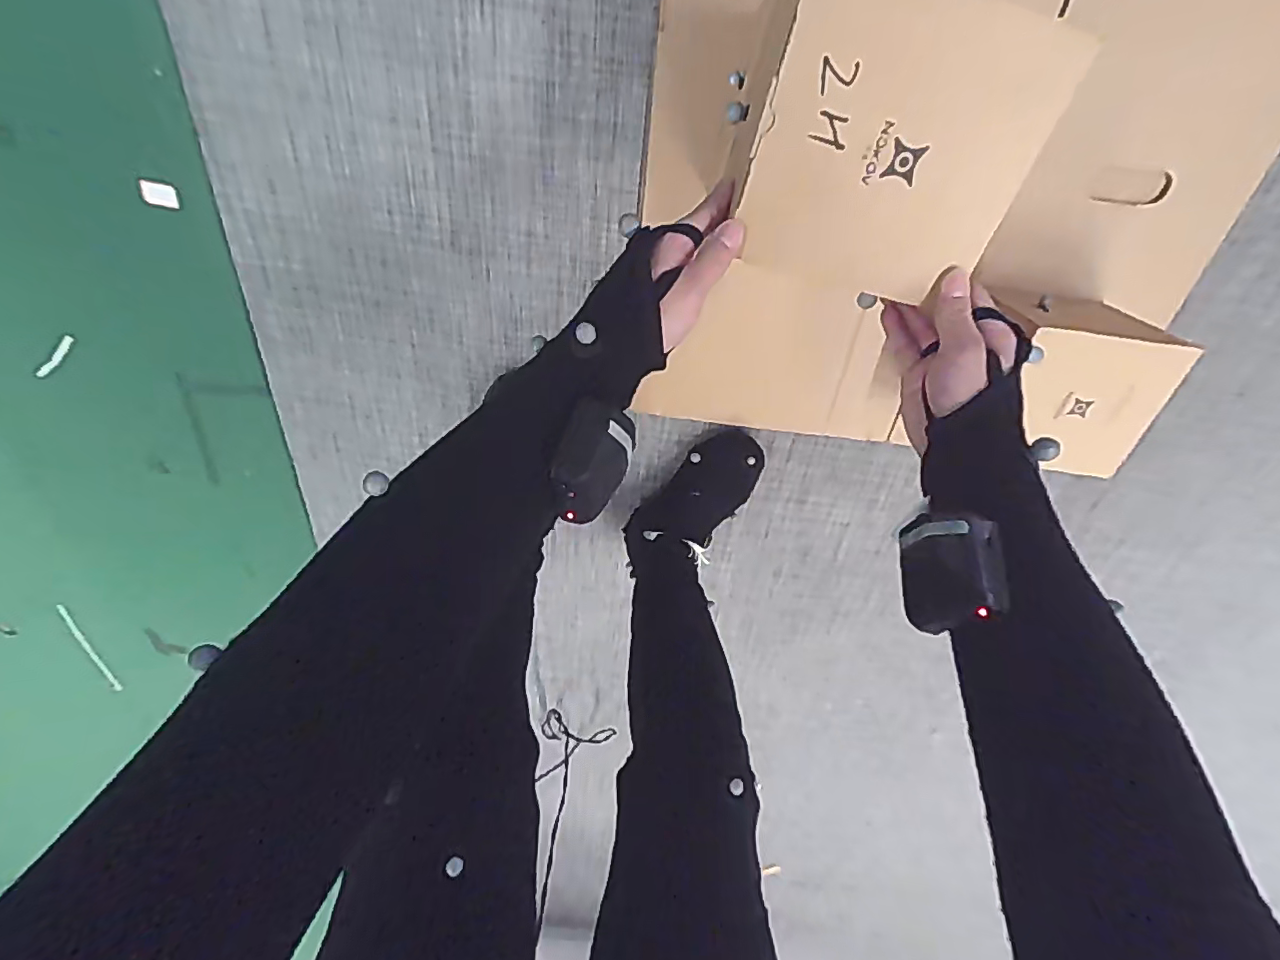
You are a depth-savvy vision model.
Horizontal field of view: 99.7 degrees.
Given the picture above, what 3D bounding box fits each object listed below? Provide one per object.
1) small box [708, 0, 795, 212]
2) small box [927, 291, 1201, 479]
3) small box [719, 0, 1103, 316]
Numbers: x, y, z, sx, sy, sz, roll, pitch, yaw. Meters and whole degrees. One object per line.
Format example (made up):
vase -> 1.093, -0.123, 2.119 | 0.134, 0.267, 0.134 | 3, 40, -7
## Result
small box -> 0.178, -0.346, 0.545 | 0.179, 0.176, 0.168 | 14, 123, -5
small box -> 0.492, -0.124, 0.668 | 0.179, 0.176, 0.168 | 8, 124, 0
small box -> 0.169, -0.248, 0.411 | 0.179, 0.176, 0.168 | 13, 123, -4
